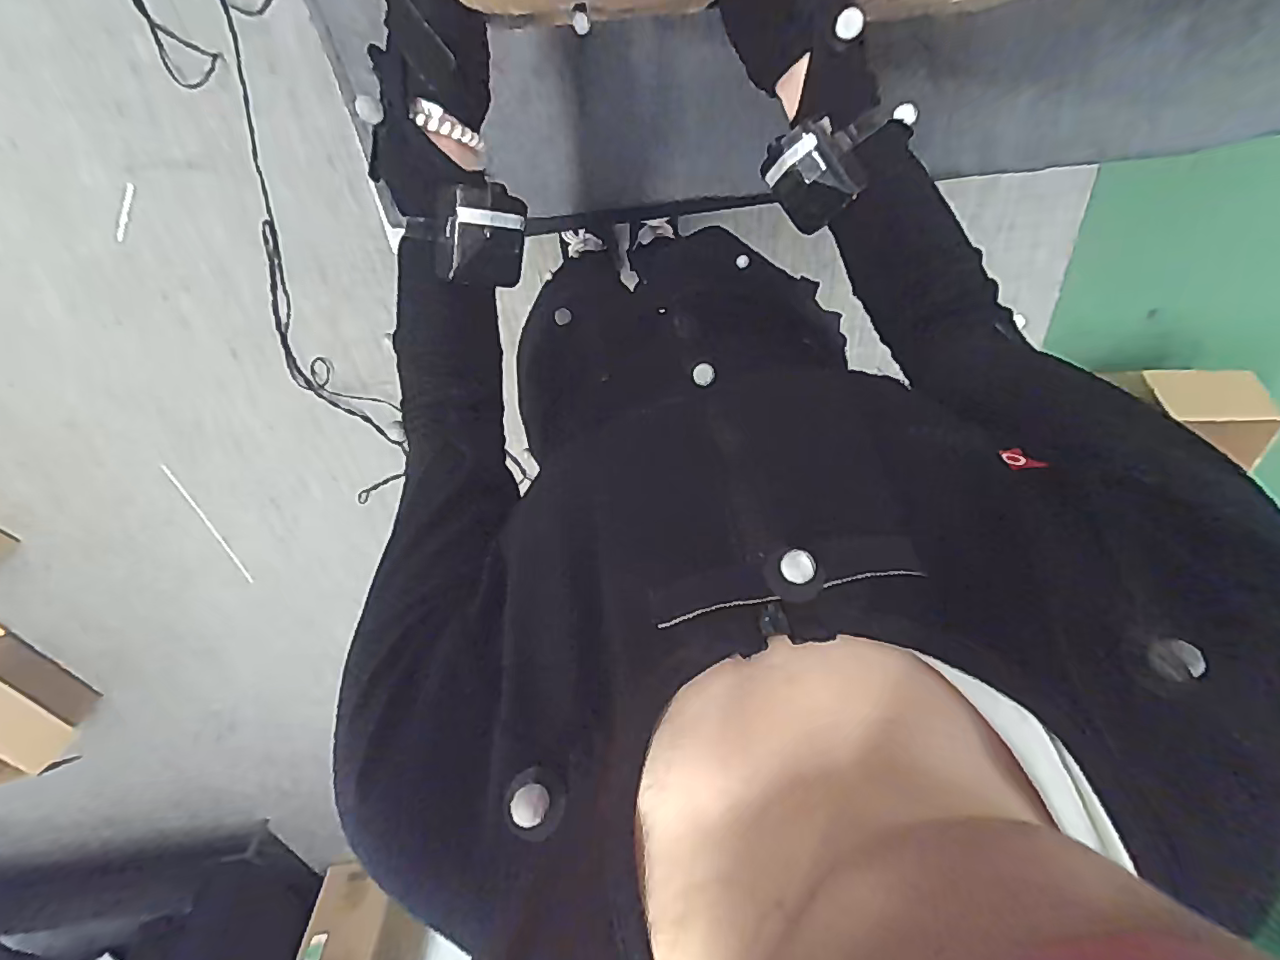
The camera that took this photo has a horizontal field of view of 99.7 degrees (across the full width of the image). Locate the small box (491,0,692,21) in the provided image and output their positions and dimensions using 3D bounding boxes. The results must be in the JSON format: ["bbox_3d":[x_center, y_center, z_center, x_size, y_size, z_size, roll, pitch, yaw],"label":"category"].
[{"bbox_3d":[-0.028,-0.378,0.293,0.168,0.176,0.179,-8,126,-2],"label":"small box"}]

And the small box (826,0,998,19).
[{"bbox_3d":[0.244,-0.468,0.400,0.168,0.176,0.179,-6,123,0],"label":"small box"}]
